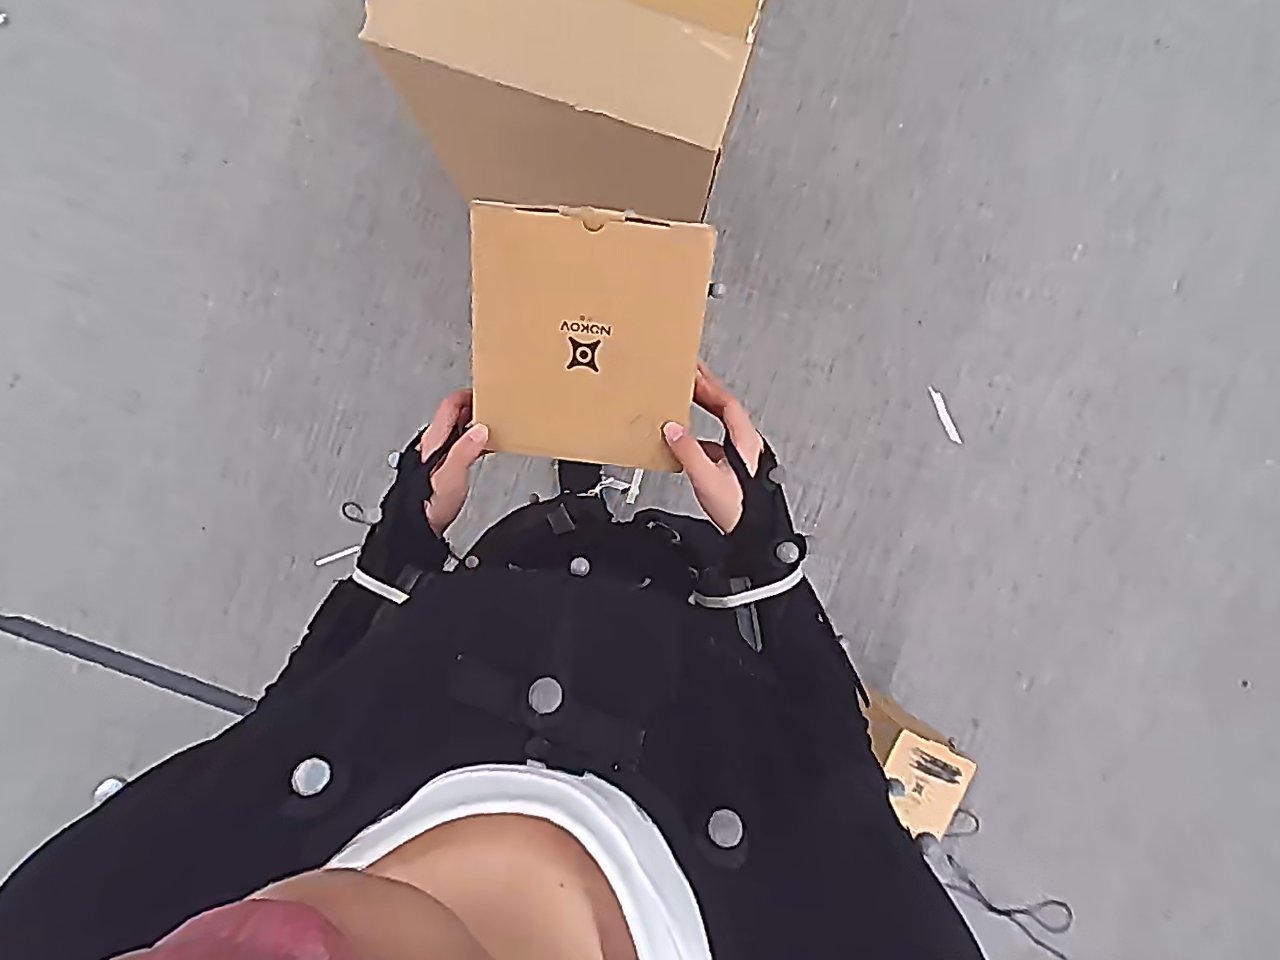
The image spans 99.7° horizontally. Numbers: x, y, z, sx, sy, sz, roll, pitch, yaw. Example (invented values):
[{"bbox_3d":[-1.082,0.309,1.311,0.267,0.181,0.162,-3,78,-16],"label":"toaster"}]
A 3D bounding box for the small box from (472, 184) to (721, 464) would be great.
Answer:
[{"bbox_3d":[-0.031,-0.130,0.452,0.168,0.176,0.179,7,111,1],"label":"small box"}]

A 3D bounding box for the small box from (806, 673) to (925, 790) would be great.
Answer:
[{"bbox_3d":[0.531,0.592,1.297,0.179,0.176,0.168,26,89,0],"label":"small box"}]
